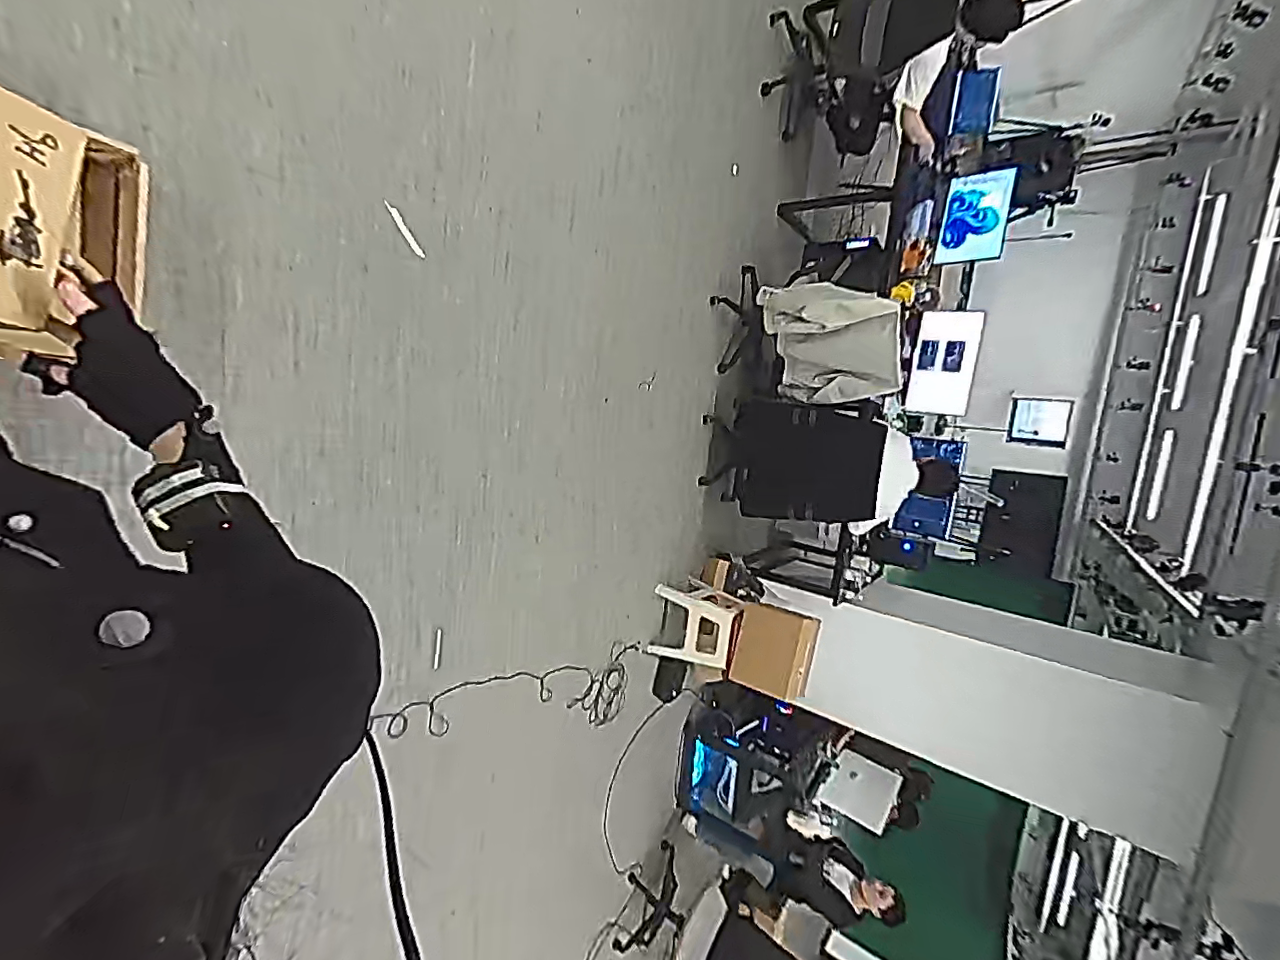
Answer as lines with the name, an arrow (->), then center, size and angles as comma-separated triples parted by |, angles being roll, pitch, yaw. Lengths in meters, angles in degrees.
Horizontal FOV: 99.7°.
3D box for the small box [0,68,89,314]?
small box -> -0.552, -0.226, 0.377 | 0.179, 0.176, 0.168 | 15, 86, -63
